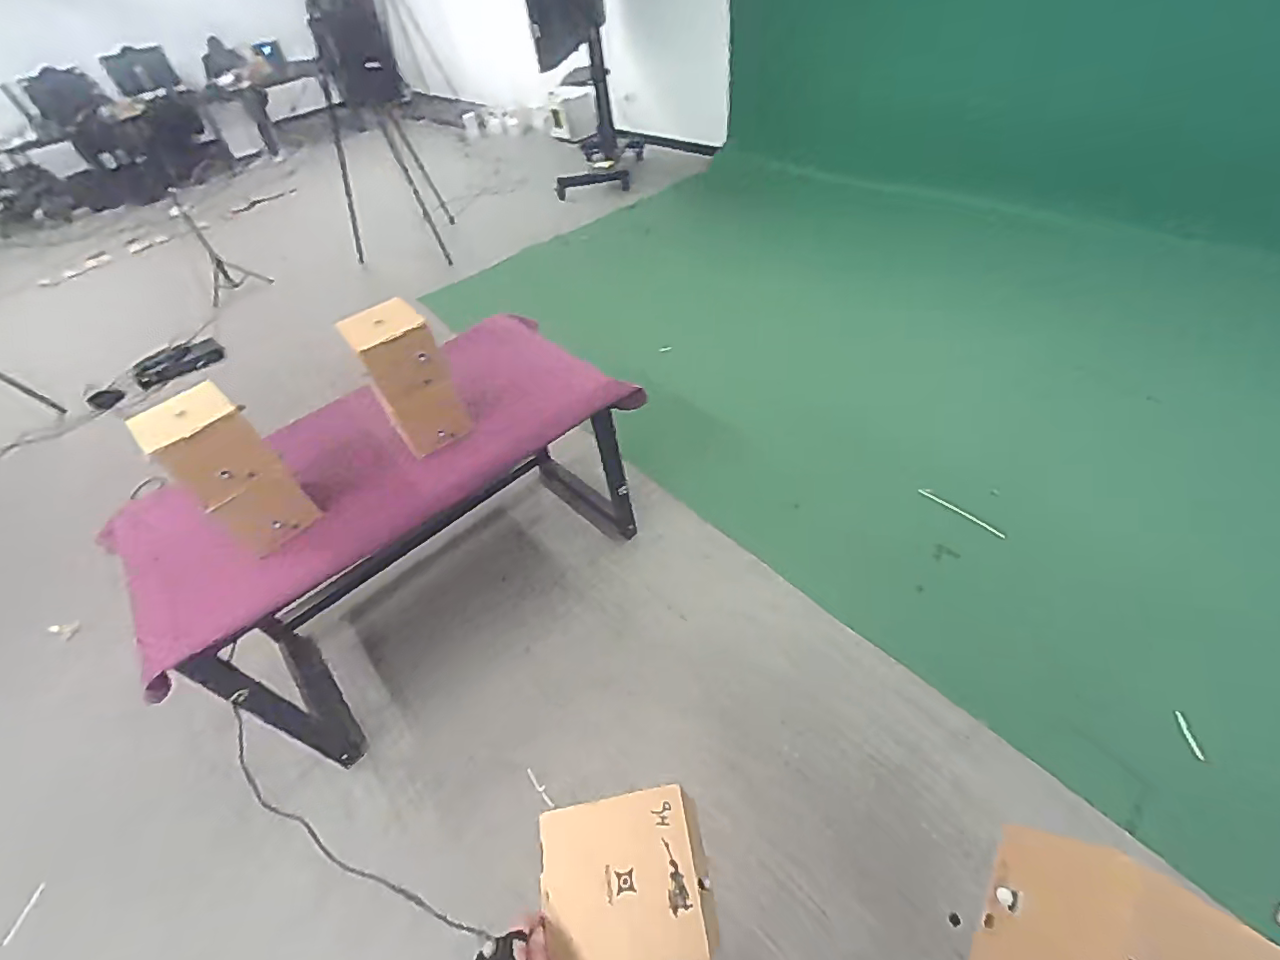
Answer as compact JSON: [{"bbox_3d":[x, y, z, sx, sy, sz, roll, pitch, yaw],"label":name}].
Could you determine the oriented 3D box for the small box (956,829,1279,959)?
[{"bbox_3d":[0.458,0.476,0.529,0.179,0.176,0.168,29,66,11],"label":"small box"}]

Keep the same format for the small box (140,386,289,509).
[{"bbox_3d":[-0.901,-0.067,1.156,0.179,0.176,0.168,30,58,31],"label":"small box"}]

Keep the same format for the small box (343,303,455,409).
[{"bbox_3d":[-0.581,-0.298,1.318,0.168,0.176,0.179,-34,50,-21],"label":"small box"}]

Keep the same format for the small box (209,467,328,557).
[{"bbox_3d":[-0.879,0.048,1.270,0.179,0.176,0.168,32,59,33],"label":"small box"}]

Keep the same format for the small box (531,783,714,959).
[{"bbox_3d":[-0.019,0.489,0.657,0.179,0.176,0.168,-14,51,4],"label":"small box"}]
